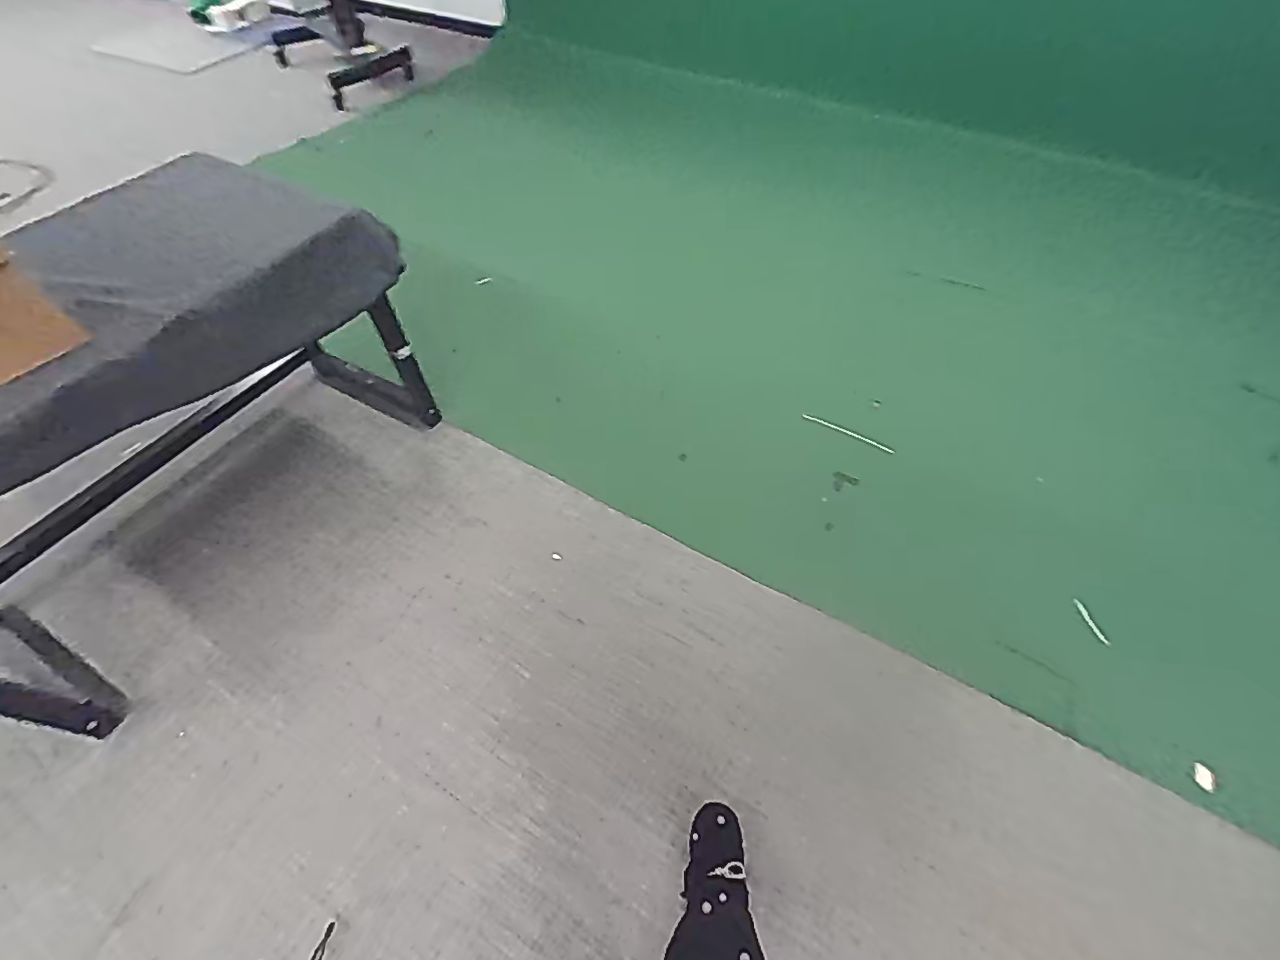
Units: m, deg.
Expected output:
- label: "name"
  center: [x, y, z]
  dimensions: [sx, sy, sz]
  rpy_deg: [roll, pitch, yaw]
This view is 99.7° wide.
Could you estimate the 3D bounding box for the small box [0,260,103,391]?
- label: "small box"
  center: [-1.125, -0.286, 0.947]
  dimensions: [0.168, 0.176, 0.179]
  rpy_deg: [26, 58, 20]
